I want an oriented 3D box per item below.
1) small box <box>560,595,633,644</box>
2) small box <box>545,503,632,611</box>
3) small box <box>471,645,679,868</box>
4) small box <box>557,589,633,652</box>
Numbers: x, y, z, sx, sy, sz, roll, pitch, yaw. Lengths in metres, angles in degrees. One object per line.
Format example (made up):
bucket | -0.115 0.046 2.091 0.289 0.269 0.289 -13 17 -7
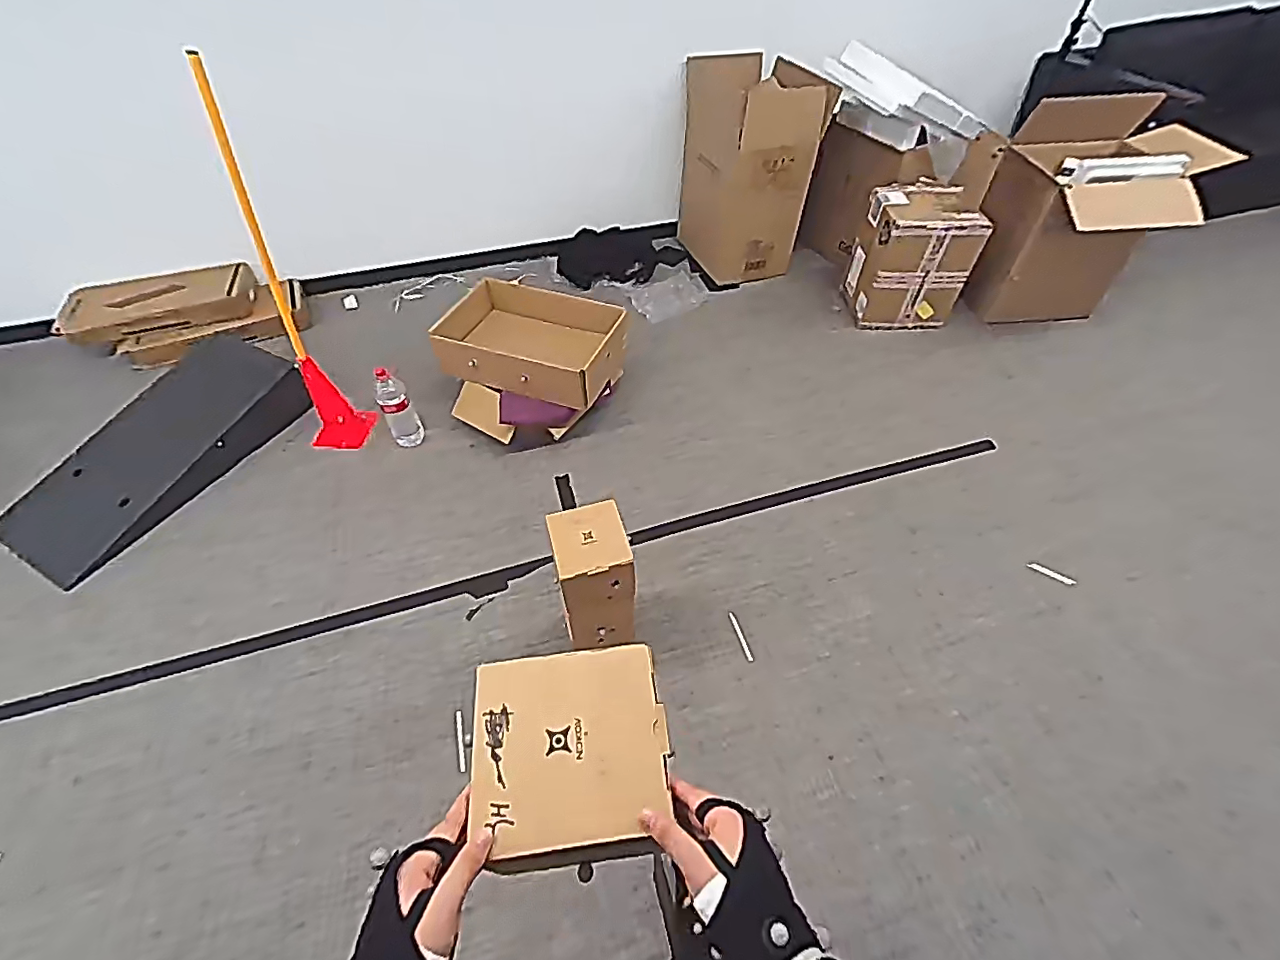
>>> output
small box | -0.119 0.292 1.382 0.168 0.176 0.179 -13 52 -10
small box | -0.117 0.186 1.258 0.168 0.176 0.179 -13 51 -12
small box | -0.065 0.288 0.560 0.179 0.176 0.168 -5 51 -6
small box | -0.123 0.393 1.511 0.179 0.176 0.168 -12 52 -11
